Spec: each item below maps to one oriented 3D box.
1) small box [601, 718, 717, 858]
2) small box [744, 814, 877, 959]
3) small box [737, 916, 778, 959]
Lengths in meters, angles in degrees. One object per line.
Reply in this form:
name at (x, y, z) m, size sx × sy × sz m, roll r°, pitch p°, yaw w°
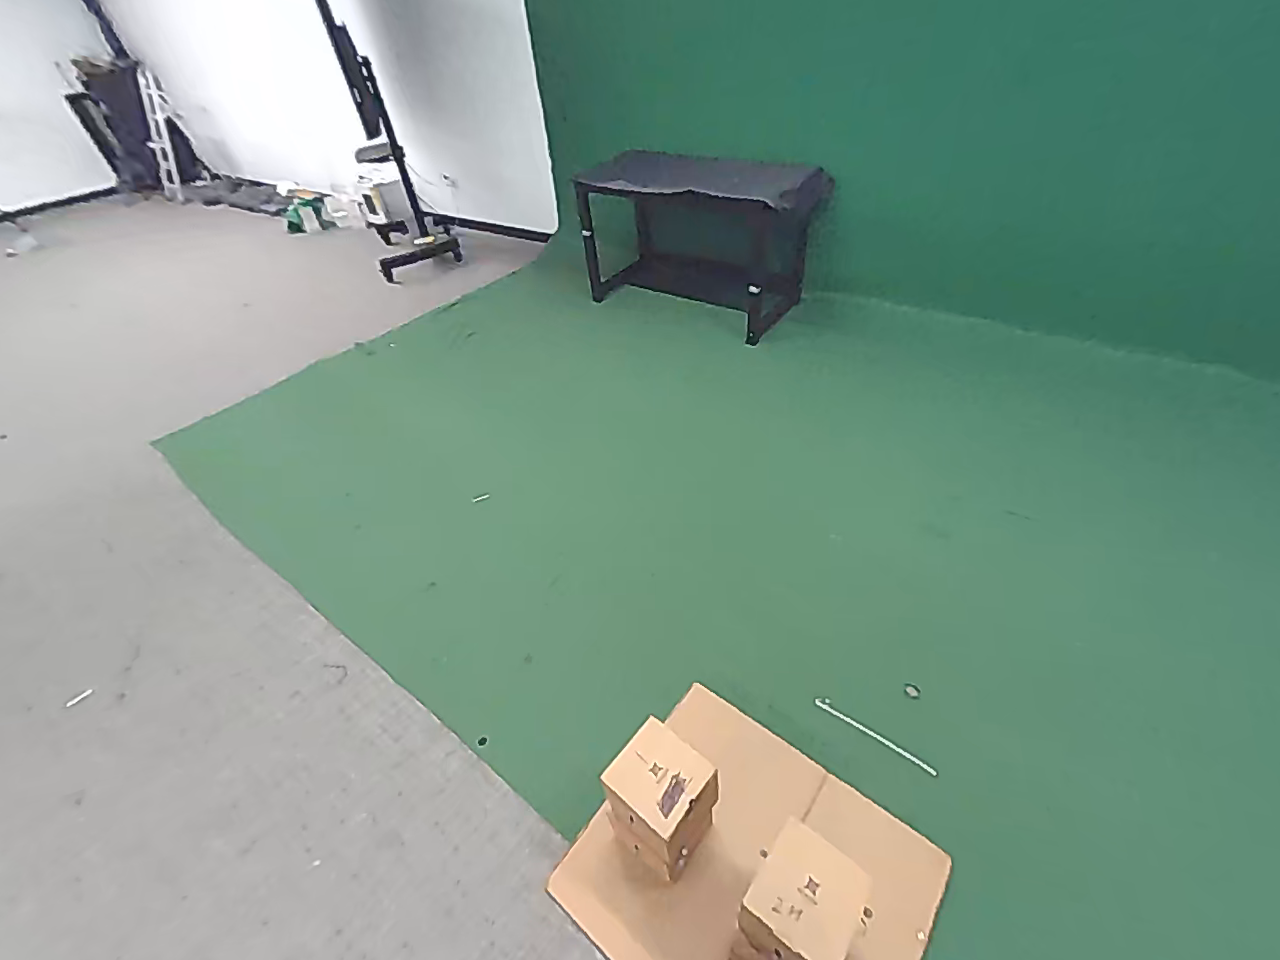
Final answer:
small box at (0.047, 0.642, 1.120) m, size 0.179 × 0.176 × 0.168 m, roll 26°, pitch 51°, yaw 34°
small box at (0.295, 0.755, 0.967) m, size 0.168 × 0.176 × 0.179 m, roll 26°, pitch 51°, yaw 31°
small box at (0.301, 0.885, 1.071) m, size 0.168 × 0.176 × 0.179 m, roll 24°, pitch 50°, yaw 30°
